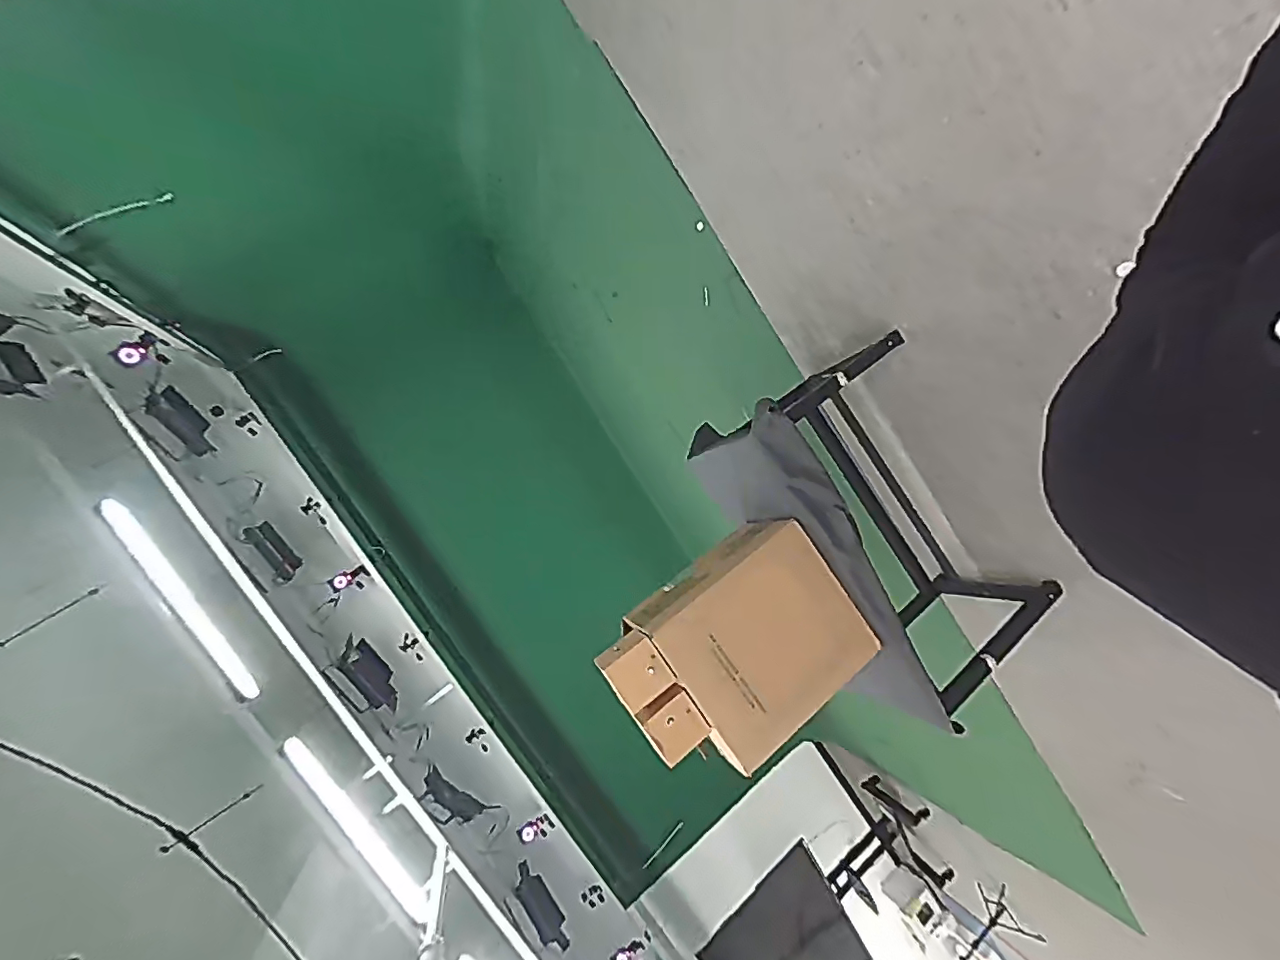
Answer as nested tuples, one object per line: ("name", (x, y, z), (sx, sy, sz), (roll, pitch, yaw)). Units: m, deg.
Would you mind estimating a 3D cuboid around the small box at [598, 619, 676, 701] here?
("small box", (-0.008, 0.564, 1.721), (0.168, 0.176, 0.179), (56, 164, -2))
